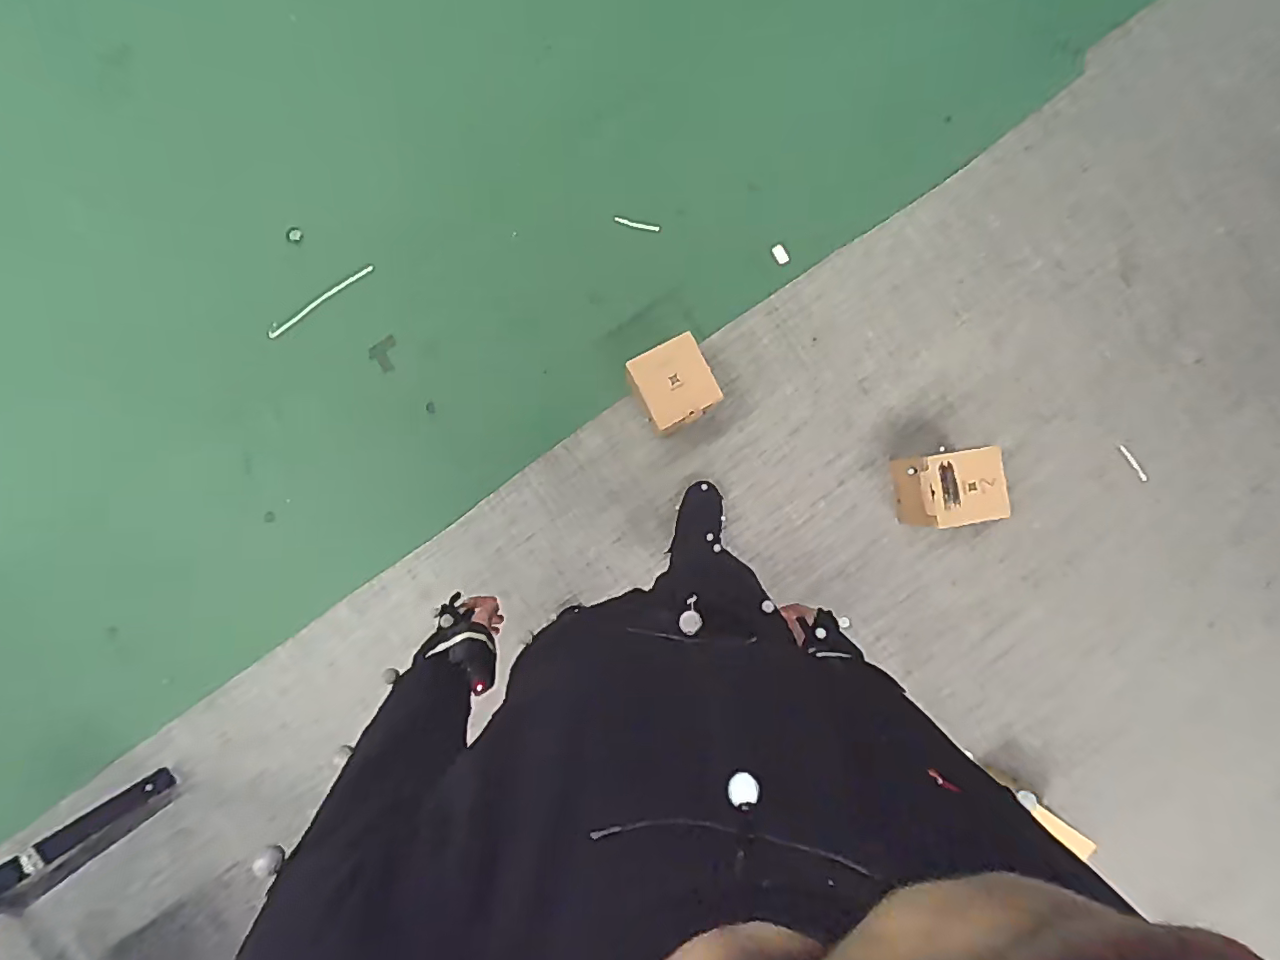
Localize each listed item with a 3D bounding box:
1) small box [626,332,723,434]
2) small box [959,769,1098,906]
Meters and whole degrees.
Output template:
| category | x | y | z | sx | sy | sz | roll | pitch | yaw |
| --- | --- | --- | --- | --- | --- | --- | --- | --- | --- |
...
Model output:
| category | x | y | z | sx | sy | sz | roll | pitch | yaw |
| --- | --- | --- | --- | --- | --- | --- | --- | --- | --- |
| small box | 0.079 | -0.220 | 1.288 | 0.168 | 0.176 | 0.179 | -28 | 89 | -1 |
| small box | 0.905 | 0.833 | 1.281 | 0.168 | 0.176 | 0.179 | 34 | 91 | 1 |
